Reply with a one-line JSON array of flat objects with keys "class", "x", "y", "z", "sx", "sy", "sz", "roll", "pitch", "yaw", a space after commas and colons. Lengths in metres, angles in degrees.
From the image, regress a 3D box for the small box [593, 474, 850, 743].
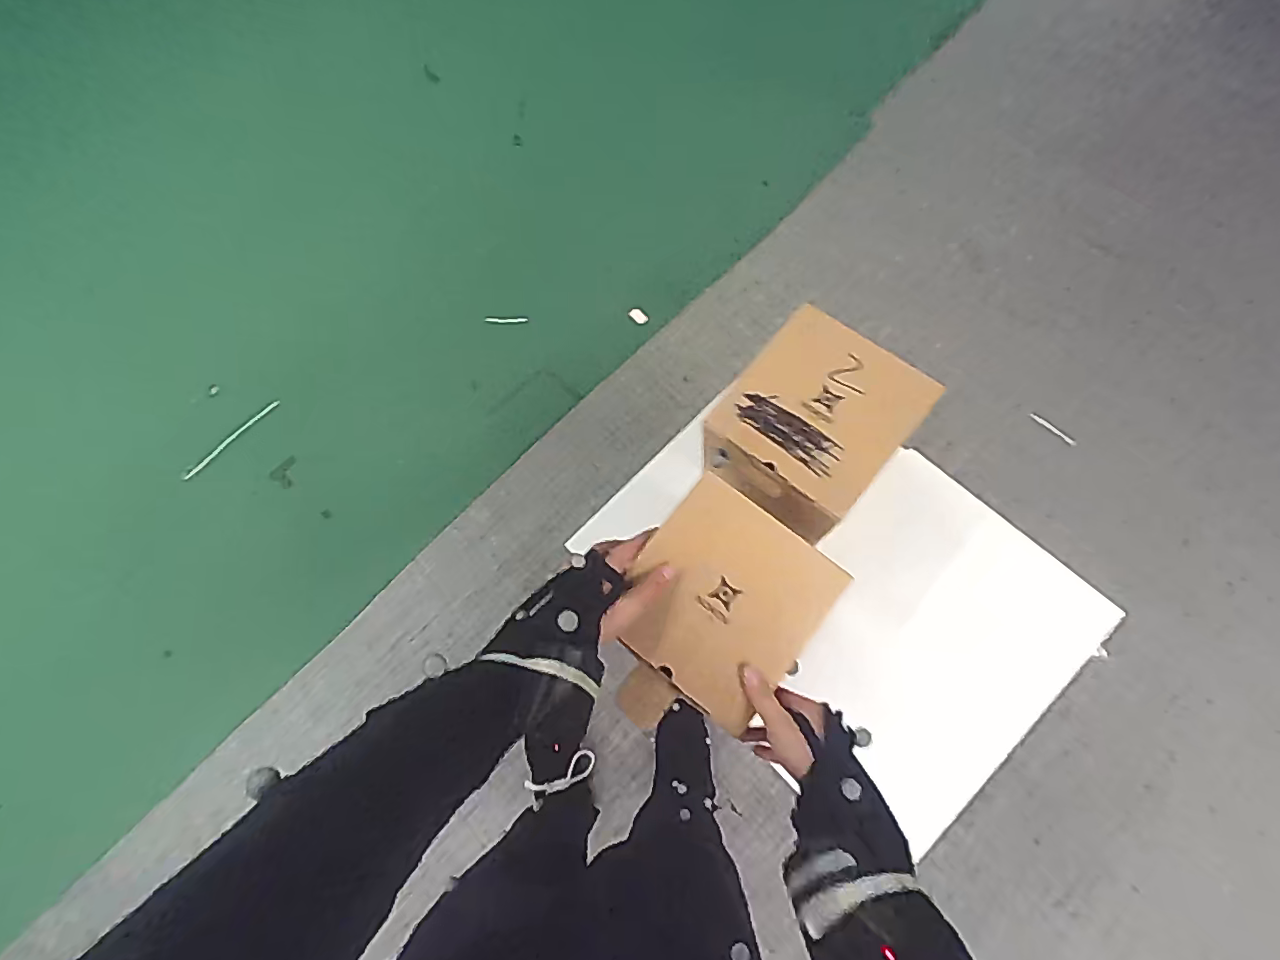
[{"class": "small box", "x": 0.072, "y": 0.122, "z": 0.554, "sx": 0.168, "sy": 0.176, "sz": 0.179, "roll": 38, "pitch": 83, "yaw": 7}]
